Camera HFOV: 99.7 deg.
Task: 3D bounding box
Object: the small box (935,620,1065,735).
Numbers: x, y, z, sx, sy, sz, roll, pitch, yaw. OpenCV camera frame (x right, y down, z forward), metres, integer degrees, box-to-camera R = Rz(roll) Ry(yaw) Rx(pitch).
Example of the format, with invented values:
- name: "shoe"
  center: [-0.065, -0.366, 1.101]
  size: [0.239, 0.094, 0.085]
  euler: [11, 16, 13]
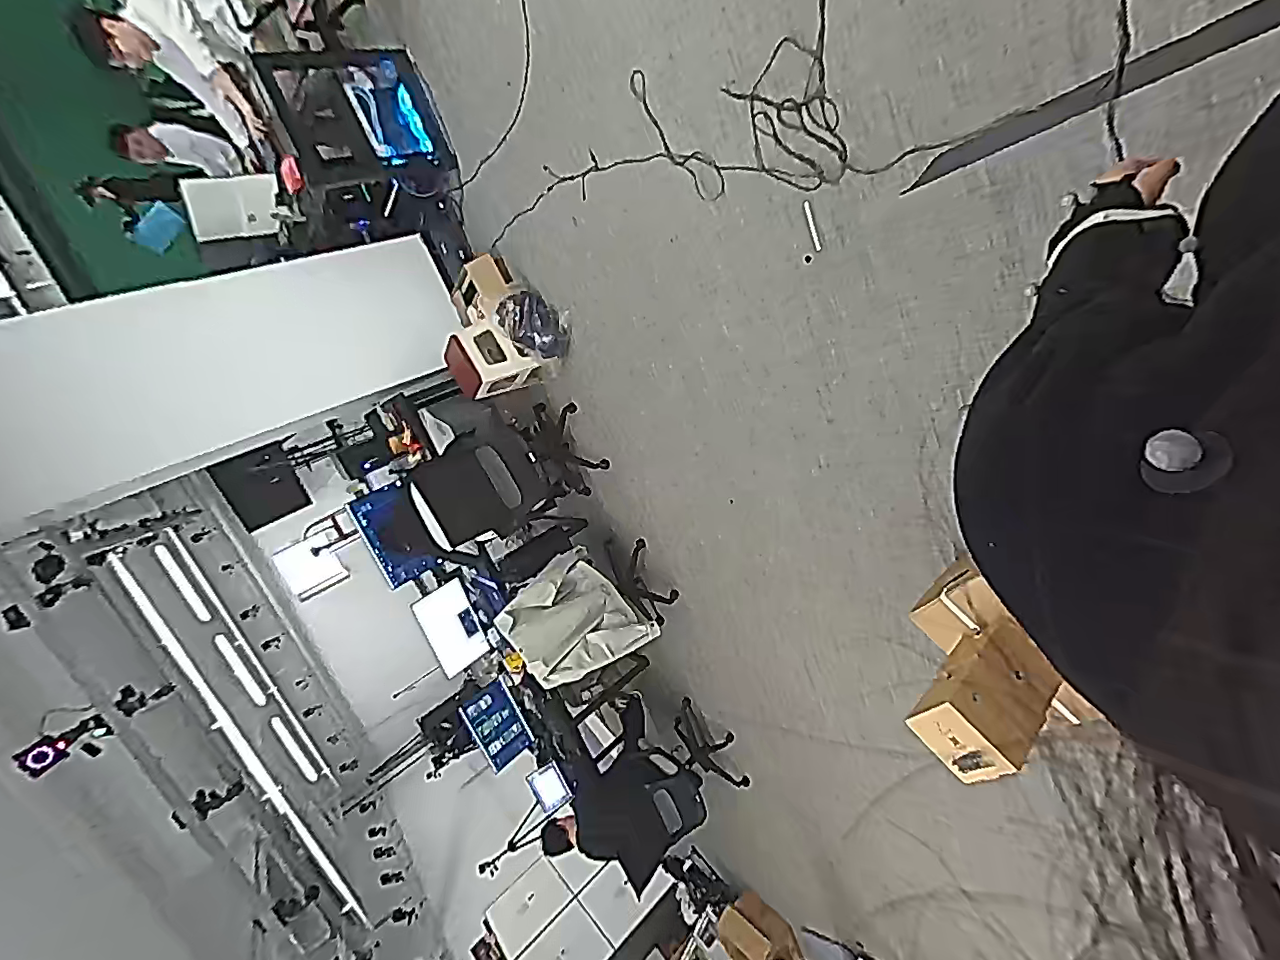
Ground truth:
- name: "small box"
  center: [0.874, 0.475, 1.312]
  size: [0.179, 0.176, 0.168]
  euler: [47, 146, 21]
